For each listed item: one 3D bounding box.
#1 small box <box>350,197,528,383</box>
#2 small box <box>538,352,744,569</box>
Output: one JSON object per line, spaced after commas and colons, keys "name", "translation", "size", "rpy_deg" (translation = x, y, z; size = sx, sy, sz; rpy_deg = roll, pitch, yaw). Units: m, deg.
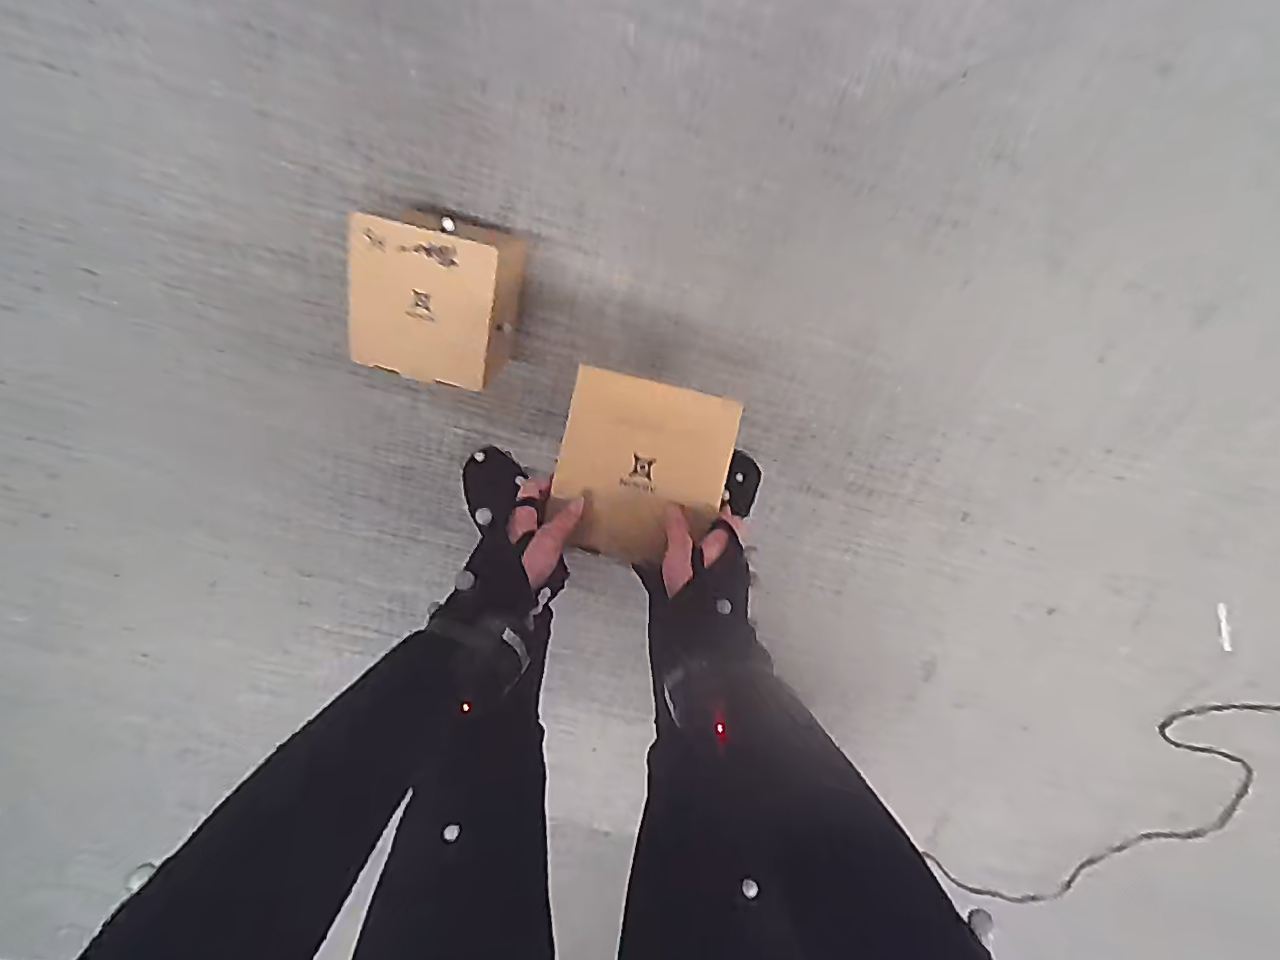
{"name": "small box", "translation": [-0.250, -0.249, 0.698], "size": [0.168, 0.176, 0.179], "rpy_deg": [13, 117, -5]}
{"name": "small box", "translation": [-0.001, -0.019, 0.589], "size": [0.168, 0.176, 0.179], "rpy_deg": [13, 90, -2]}
